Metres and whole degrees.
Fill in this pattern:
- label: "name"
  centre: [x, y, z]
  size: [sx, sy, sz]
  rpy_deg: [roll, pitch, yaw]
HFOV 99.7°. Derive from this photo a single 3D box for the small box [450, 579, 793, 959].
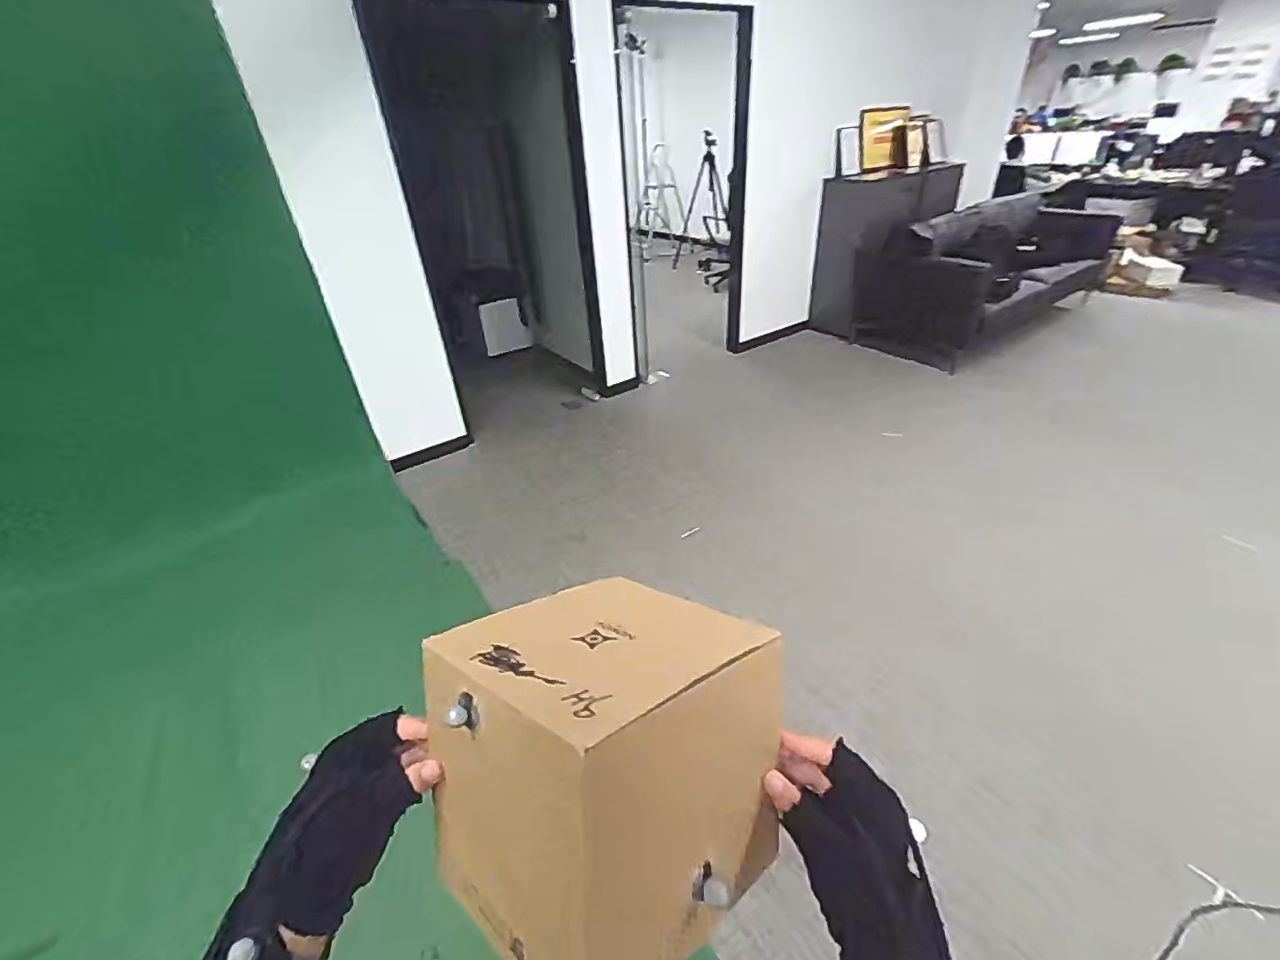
- label: "small box"
  centre: [-0.014, 0.183, 0.374]
  size: [0.179, 0.176, 0.168]
  rpy_deg: [-7, 9, -44]
